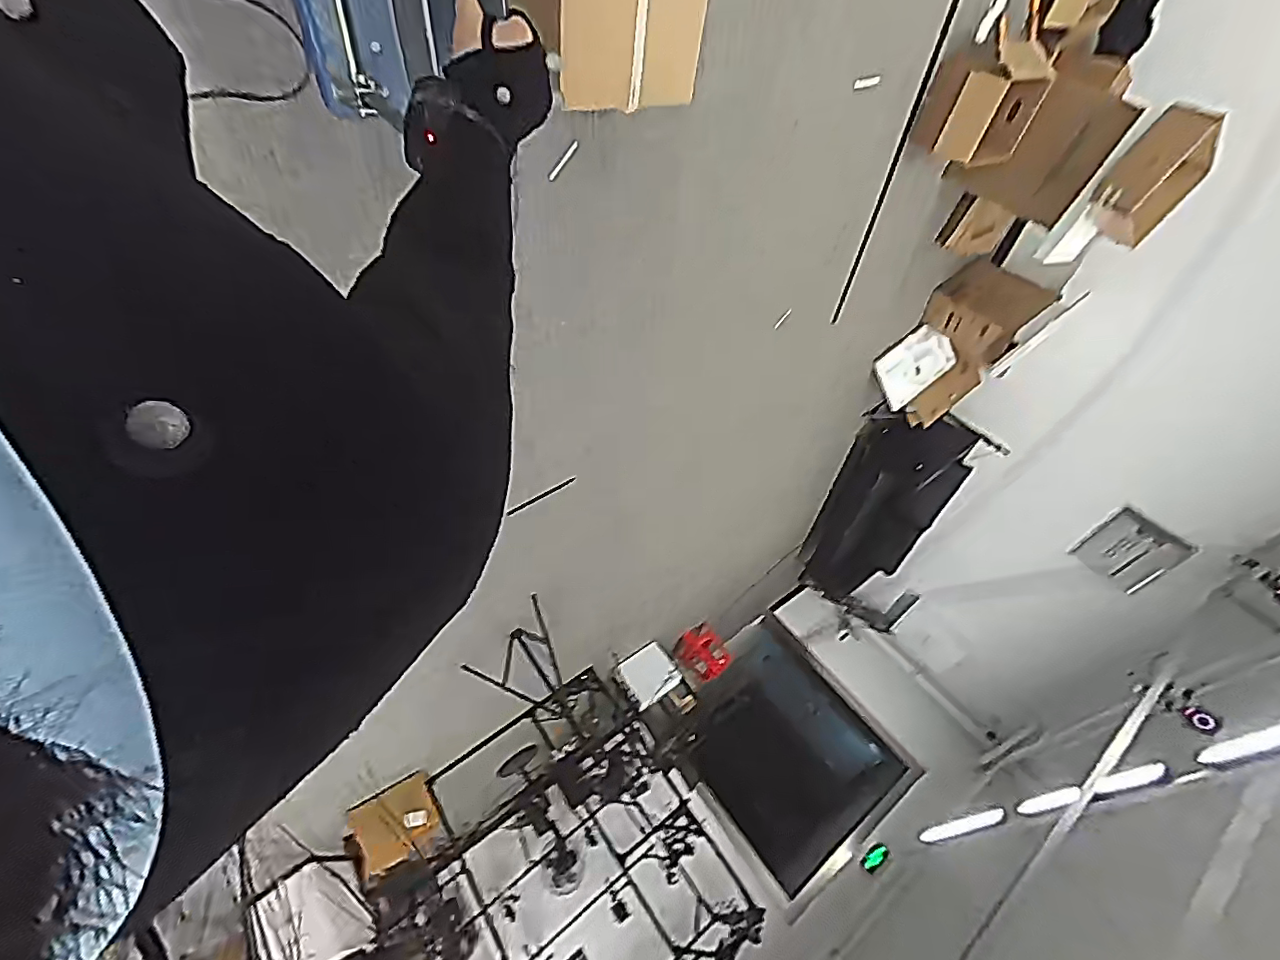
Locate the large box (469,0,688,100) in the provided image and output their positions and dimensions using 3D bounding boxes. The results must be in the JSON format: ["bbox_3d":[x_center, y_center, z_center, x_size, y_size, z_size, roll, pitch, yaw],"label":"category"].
[{"bbox_3d":[-0.114,-0.962,0.965,0.320,0.320,0.408,-26,146,-29],"label":"large box"}]
